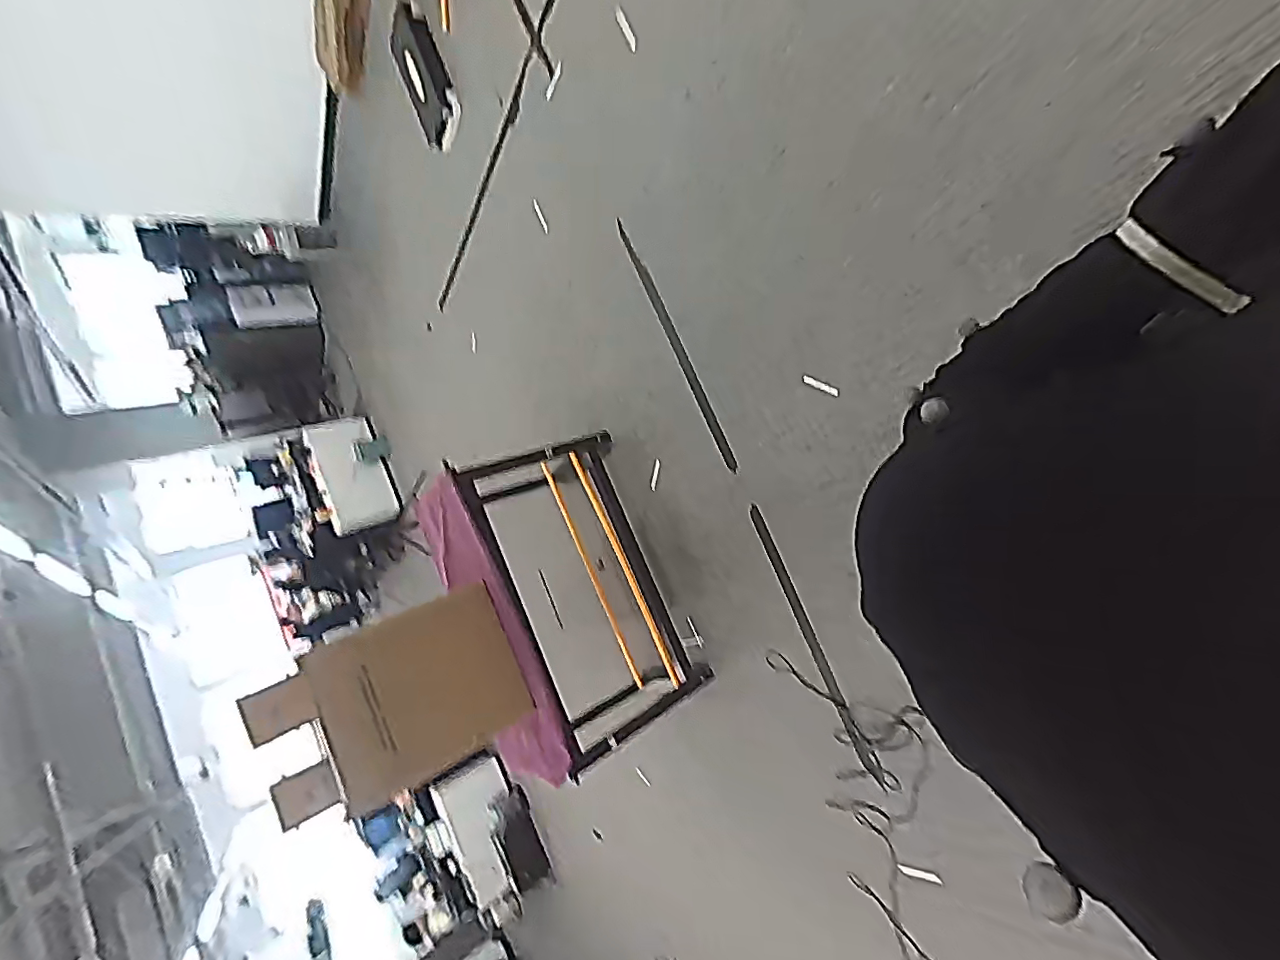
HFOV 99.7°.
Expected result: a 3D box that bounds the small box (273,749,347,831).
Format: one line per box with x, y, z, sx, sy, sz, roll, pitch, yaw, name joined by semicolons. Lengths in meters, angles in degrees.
-1.076;1.003;1.766;0.179;0.176;0.168;-34;76;52;small box
